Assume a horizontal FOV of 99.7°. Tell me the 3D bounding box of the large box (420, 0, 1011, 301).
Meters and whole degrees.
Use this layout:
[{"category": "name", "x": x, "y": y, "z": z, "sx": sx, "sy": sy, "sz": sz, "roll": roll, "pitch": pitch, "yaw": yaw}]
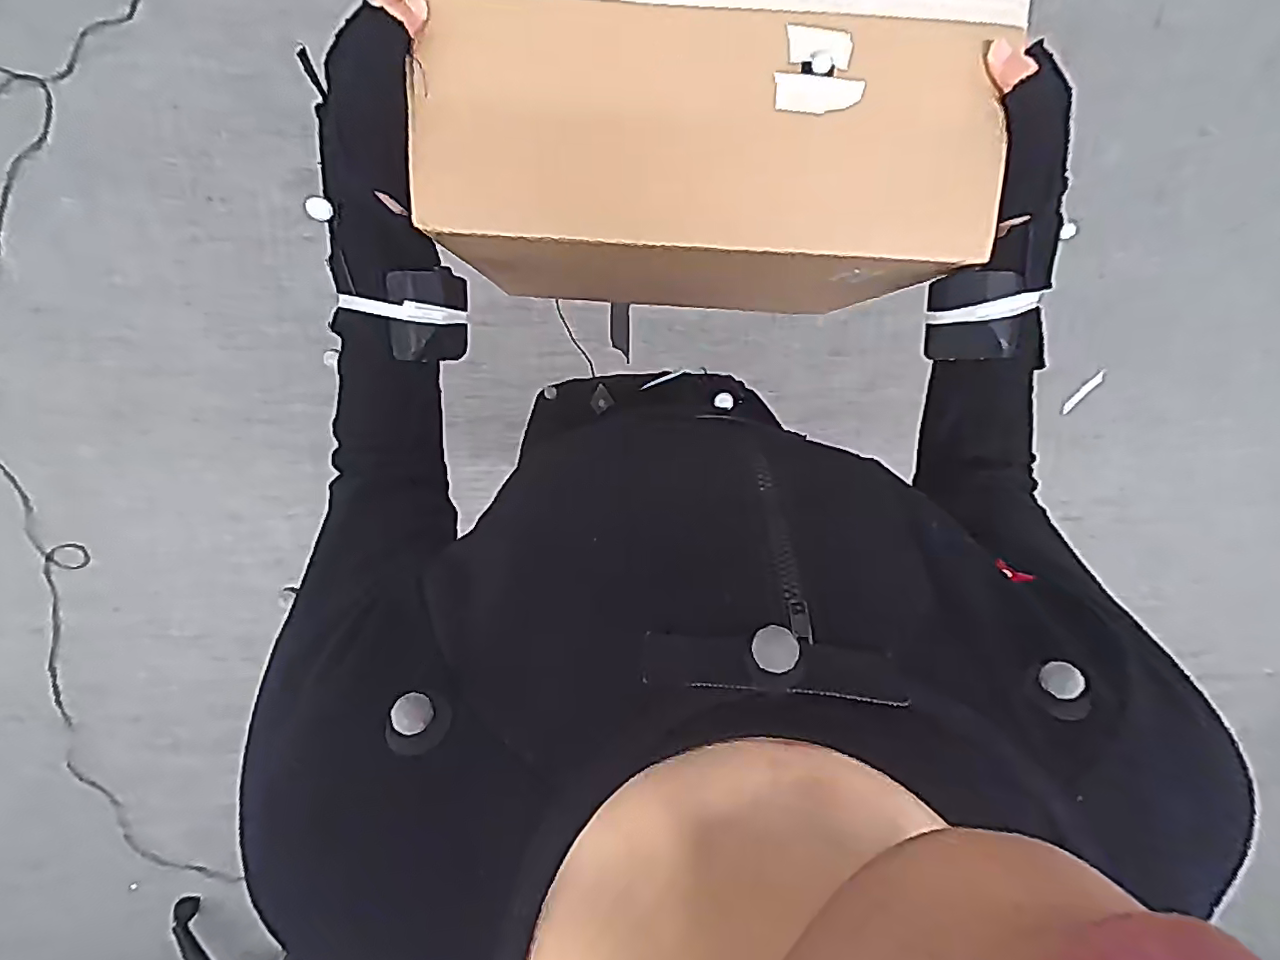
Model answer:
[{"category": "large box", "x": 0.046, "y": -0.353, "z": 0.505, "sx": 0.408, "sy": 0.320, "sz": 0.320, "roll": 2, "pitch": 102, "yaw": -3}]
